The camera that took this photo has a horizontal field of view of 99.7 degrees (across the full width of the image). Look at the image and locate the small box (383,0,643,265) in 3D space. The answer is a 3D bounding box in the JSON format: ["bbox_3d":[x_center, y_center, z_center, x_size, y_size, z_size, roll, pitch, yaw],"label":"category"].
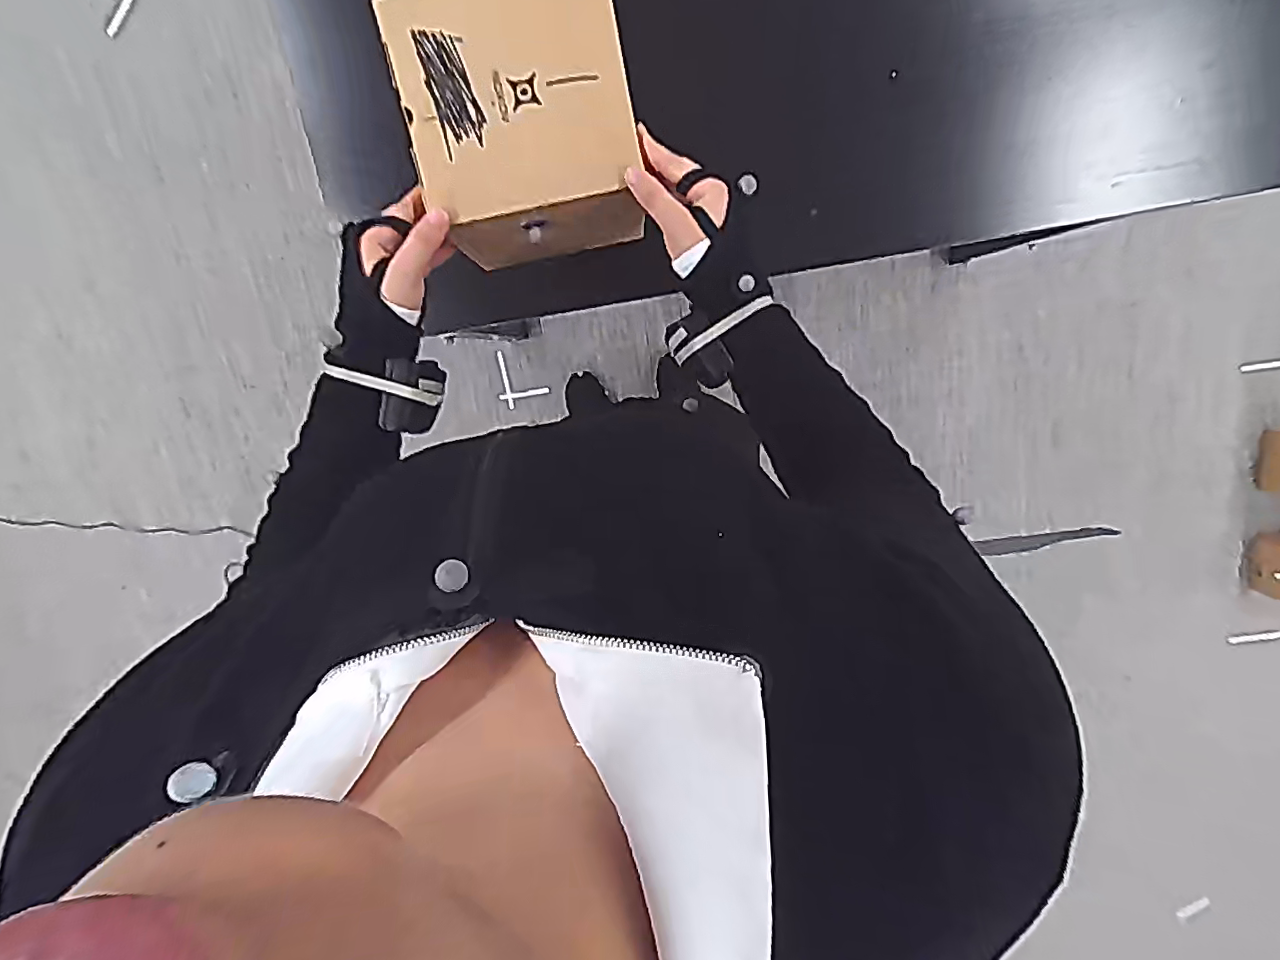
[{"bbox_3d":[-0.096,-0.311,0.497,0.179,0.176,0.168,-12,101,1],"label":"small box"}]

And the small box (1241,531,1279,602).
[{"bbox_3d":[1.805,0.242,1.467,0.179,0.176,0.168,-11,103,4],"label":"small box"}]

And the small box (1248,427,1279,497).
[{"bbox_3d":[1.748,-0.042,1.396,0.168,0.176,0.179,-7,103,2],"label":"small box"}]
